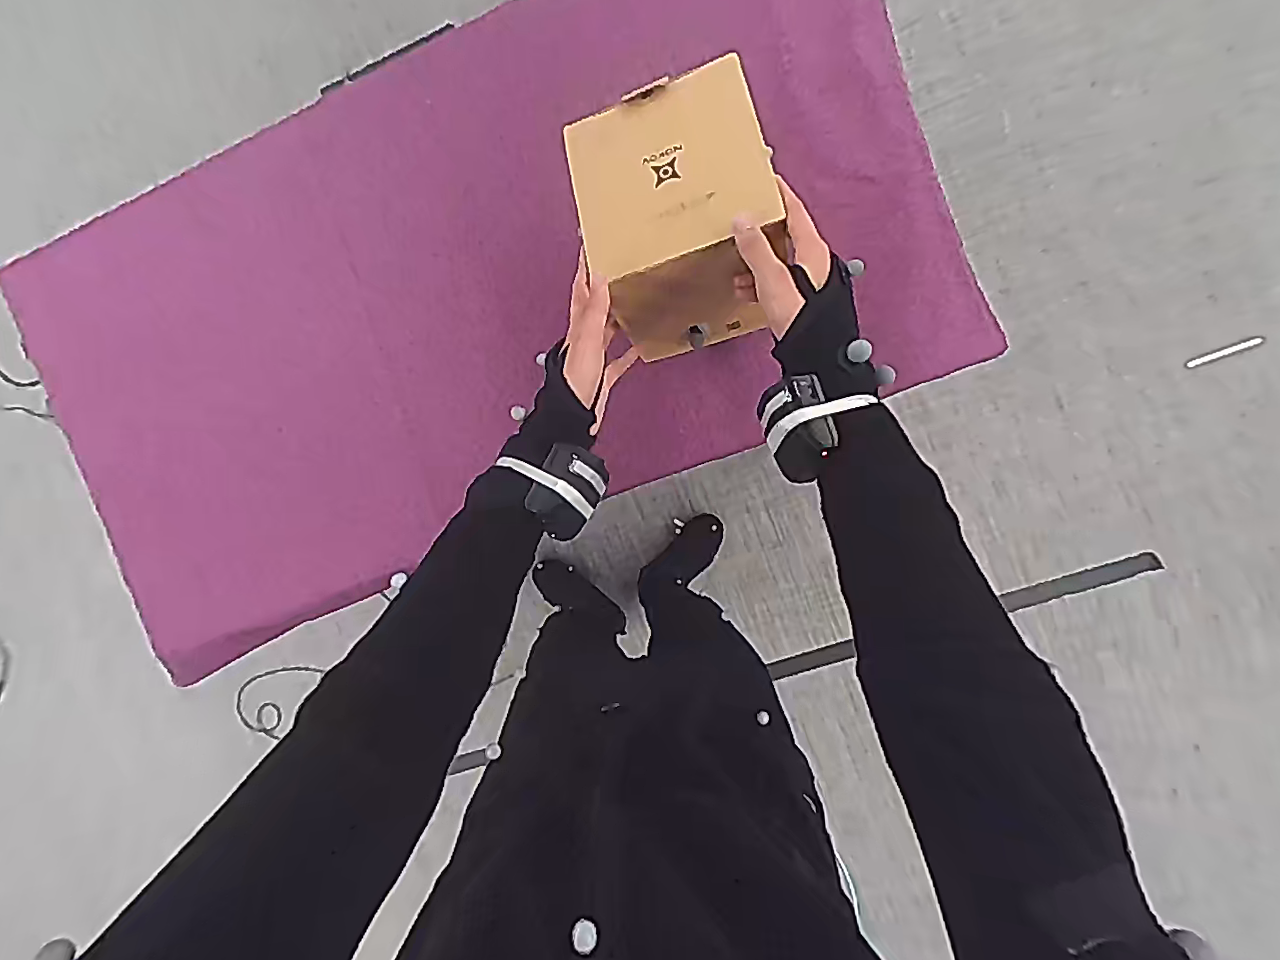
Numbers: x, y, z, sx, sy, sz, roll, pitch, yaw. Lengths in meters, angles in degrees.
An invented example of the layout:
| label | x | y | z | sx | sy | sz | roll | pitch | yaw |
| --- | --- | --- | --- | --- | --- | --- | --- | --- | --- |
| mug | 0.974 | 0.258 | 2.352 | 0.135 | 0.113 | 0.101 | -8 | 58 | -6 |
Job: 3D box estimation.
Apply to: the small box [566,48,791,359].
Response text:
| label | x | y | z | sx | sy | sz | roll | pitch | yaw |
| --- | --- | --- | --- | --- | --- | --- | --- | --- | --- |
| small box | 0.045 | -0.246 | 0.522 | 0.168 | 0.176 | 0.179 | -14 | 75 | 14 |
